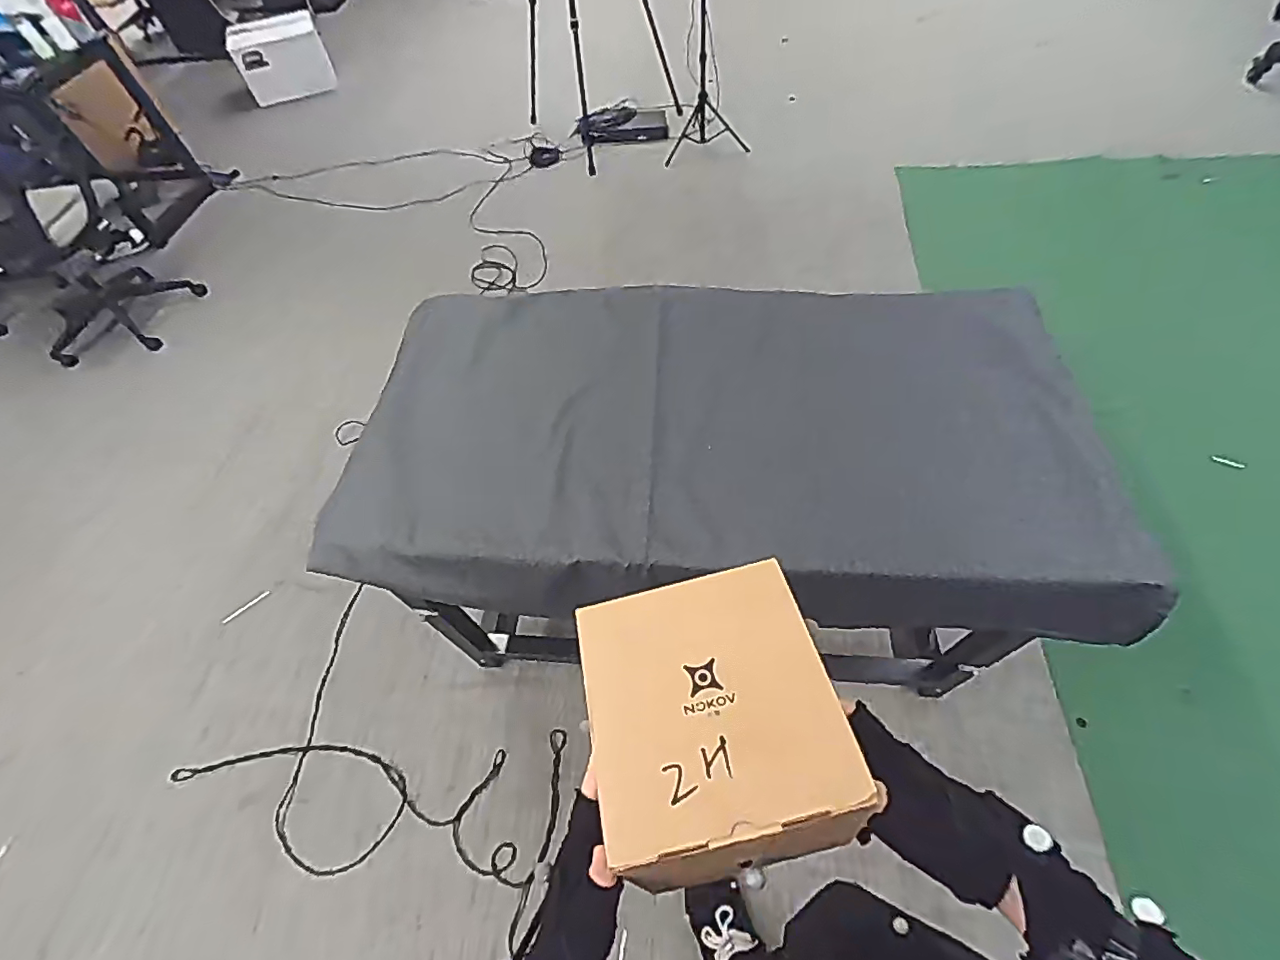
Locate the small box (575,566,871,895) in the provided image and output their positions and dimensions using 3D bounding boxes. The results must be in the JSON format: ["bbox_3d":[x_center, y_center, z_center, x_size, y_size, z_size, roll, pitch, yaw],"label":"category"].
[{"bbox_3d":[0.054,0.199,0.427,0.168,0.176,0.179,-14,49,1],"label":"small box"}]
